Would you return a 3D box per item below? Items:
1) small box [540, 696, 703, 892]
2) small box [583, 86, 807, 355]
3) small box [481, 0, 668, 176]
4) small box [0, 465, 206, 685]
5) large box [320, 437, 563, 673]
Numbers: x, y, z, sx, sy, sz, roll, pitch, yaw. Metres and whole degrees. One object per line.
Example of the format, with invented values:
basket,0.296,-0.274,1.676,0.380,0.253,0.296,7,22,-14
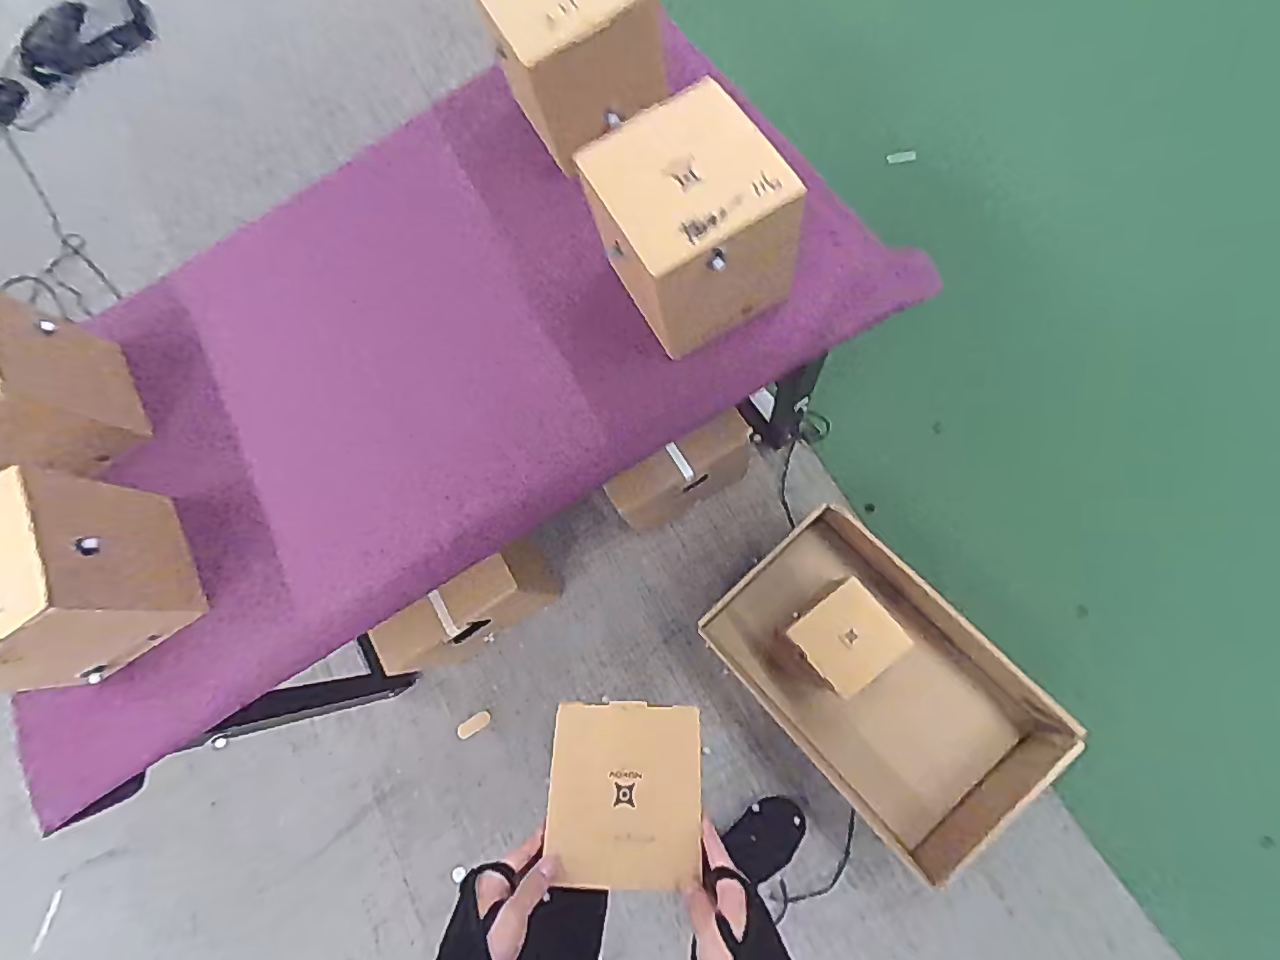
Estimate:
small box,-0.012,0.364,0.643,0.168,0.176,0.179,0,62,4
small box,0.061,-0.276,0.607,0.168,0.176,0.179,-30,71,2
small box,-0.079,-0.543,0.697,0.168,0.176,0.179,-31,74,2
small box,-0.648,0.114,0.614,0.168,0.176,0.179,-33,72,-1
large box,-0.441,0.181,1.257,0.320,0.320,0.408,-34,72,-2
